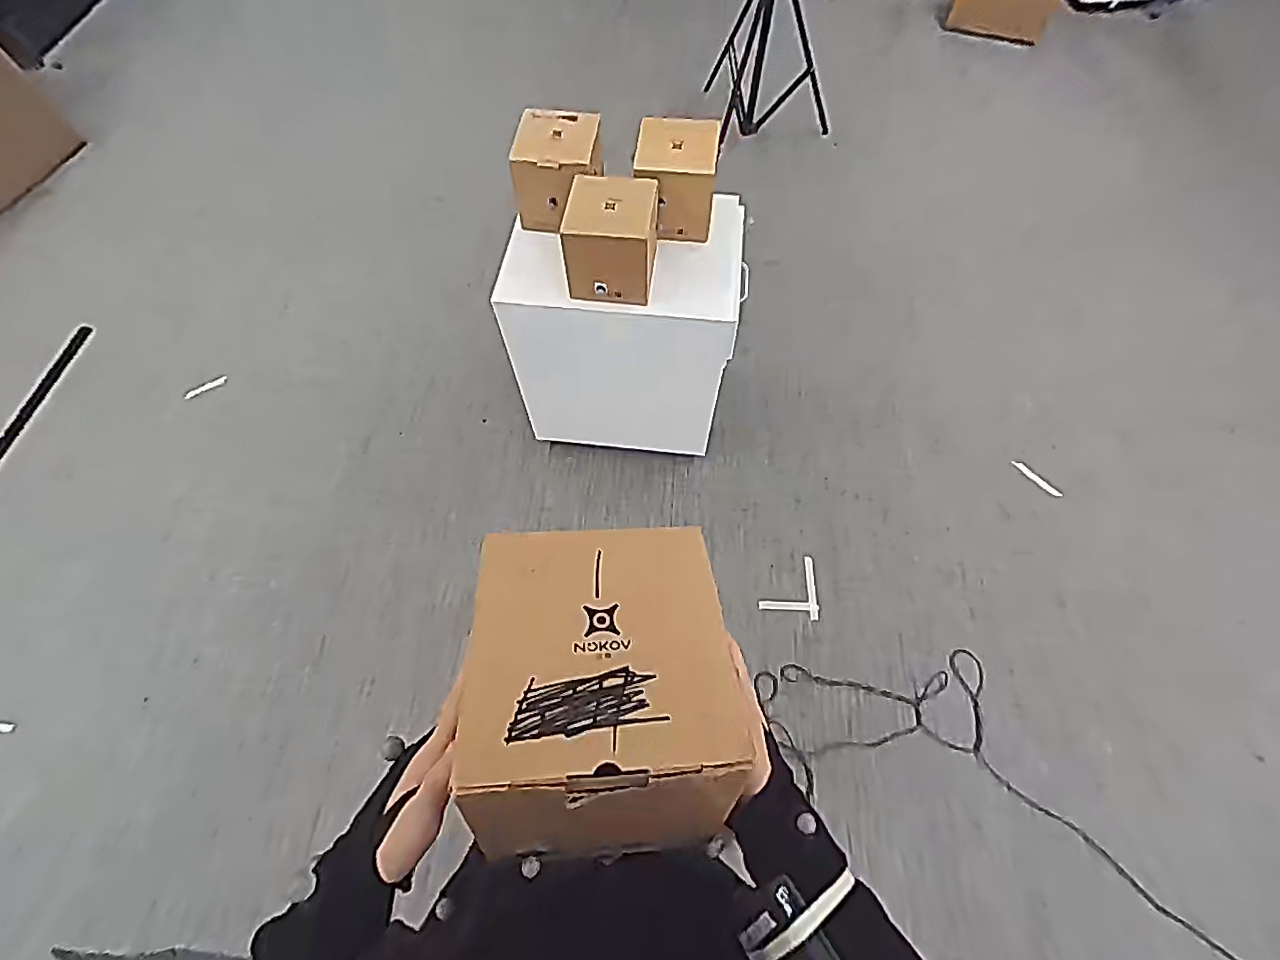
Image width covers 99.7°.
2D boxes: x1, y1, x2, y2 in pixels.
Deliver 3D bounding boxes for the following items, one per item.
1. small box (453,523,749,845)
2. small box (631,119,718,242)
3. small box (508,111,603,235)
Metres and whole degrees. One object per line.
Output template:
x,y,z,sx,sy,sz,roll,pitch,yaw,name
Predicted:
-0.029,0.154,0.406,0.168,0.176,0.179,-2,43,-6,small box
0.075,-0.645,1.176,0.168,0.176,0.179,5,64,3,small box
-0.175,-0.666,1.185,0.168,0.176,0.179,6,65,2,small box
